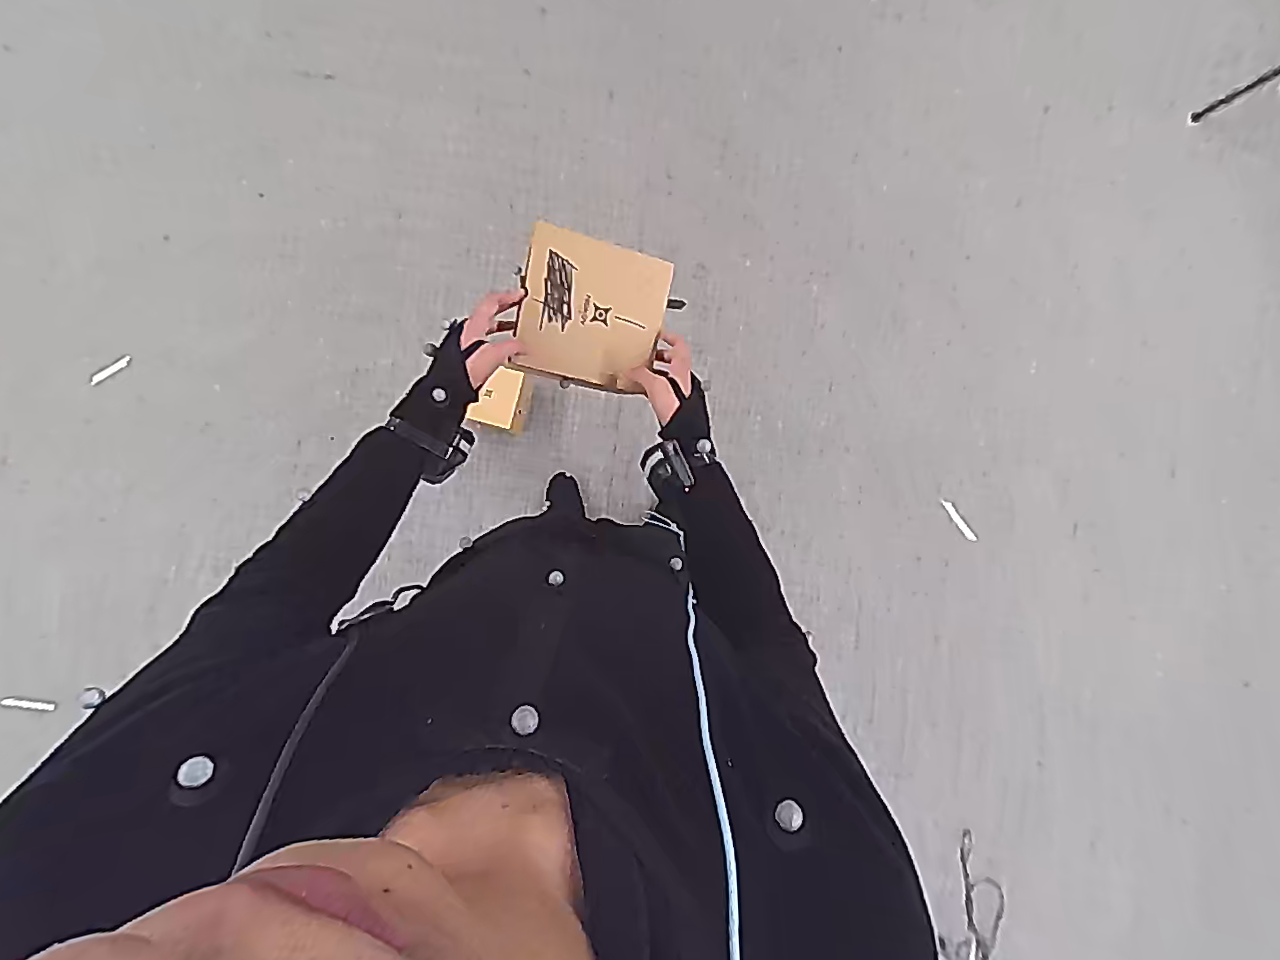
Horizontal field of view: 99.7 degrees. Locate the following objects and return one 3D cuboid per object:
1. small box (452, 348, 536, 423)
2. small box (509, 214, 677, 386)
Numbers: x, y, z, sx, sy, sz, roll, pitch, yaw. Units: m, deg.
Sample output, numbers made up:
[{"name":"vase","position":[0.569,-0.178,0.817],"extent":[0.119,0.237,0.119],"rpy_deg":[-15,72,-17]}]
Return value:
[{"name":"small box","position":[-0.414,-0.265,1.563],"extent":[0.179,0.176,0.168],"rpy_deg":[15,90,0]},{"name":"small box","position":[-0.074,-0.224,0.724],"extent":[0.179,0.176,0.168],"rpy_deg":[11,97,-18]}]
